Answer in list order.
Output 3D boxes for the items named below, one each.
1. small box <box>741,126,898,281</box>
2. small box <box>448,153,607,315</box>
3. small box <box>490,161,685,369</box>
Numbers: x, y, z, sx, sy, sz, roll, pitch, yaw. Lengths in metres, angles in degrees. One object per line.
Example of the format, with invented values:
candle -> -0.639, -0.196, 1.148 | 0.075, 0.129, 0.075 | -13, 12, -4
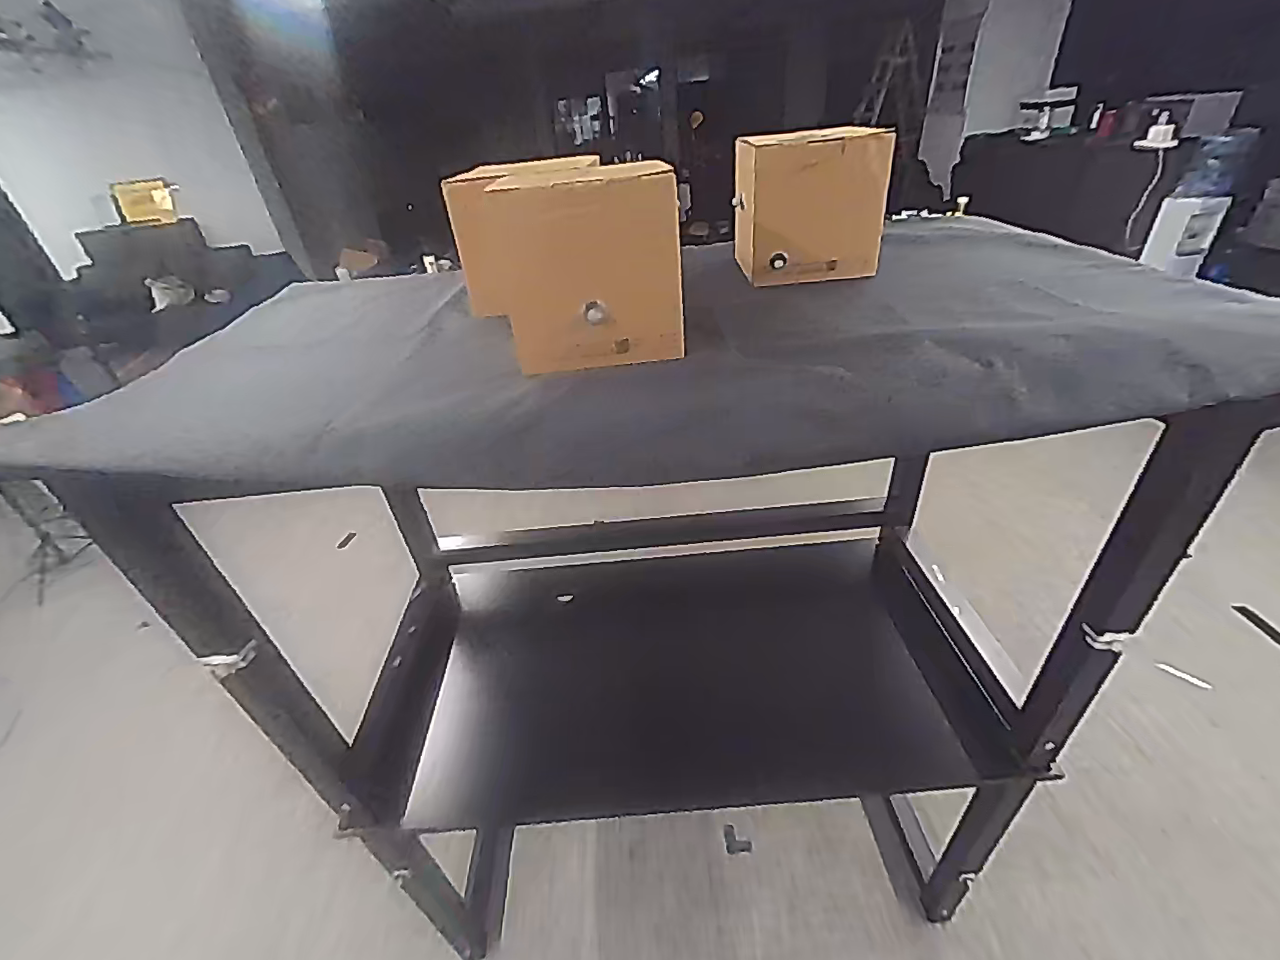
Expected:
small box -> 0.233, -0.380, 0.749 | 0.168, 0.176, 0.179 | -3, 34, 3
small box -> -0.131, -0.337, 0.743 | 0.179, 0.176, 0.168 | -2, 35, 5
small box -> -0.044, -0.229, 0.568 | 0.168, 0.176, 0.179 | -6, 34, 0
